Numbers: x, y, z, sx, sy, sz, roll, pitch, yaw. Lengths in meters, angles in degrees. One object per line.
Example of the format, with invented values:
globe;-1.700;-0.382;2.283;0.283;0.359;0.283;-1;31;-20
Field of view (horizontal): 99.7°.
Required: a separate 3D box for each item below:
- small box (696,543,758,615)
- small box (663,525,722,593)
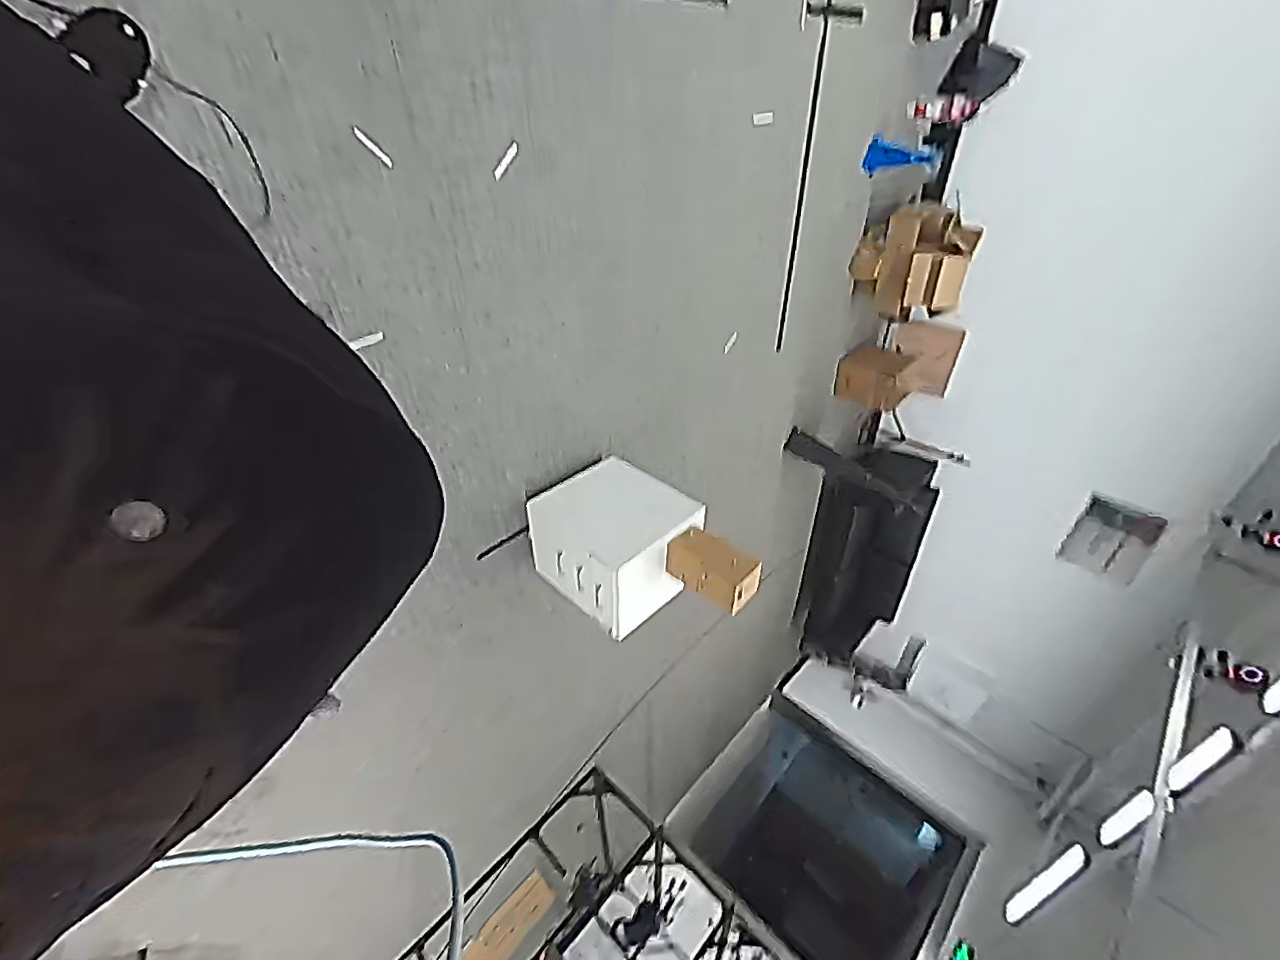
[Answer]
small box;0.331;0.378;2.084;0.179;0.176;0.168;-35;140;-35
small box;0.208;0.313;2.171;0.168;0.176;0.179;-31;137;-37
